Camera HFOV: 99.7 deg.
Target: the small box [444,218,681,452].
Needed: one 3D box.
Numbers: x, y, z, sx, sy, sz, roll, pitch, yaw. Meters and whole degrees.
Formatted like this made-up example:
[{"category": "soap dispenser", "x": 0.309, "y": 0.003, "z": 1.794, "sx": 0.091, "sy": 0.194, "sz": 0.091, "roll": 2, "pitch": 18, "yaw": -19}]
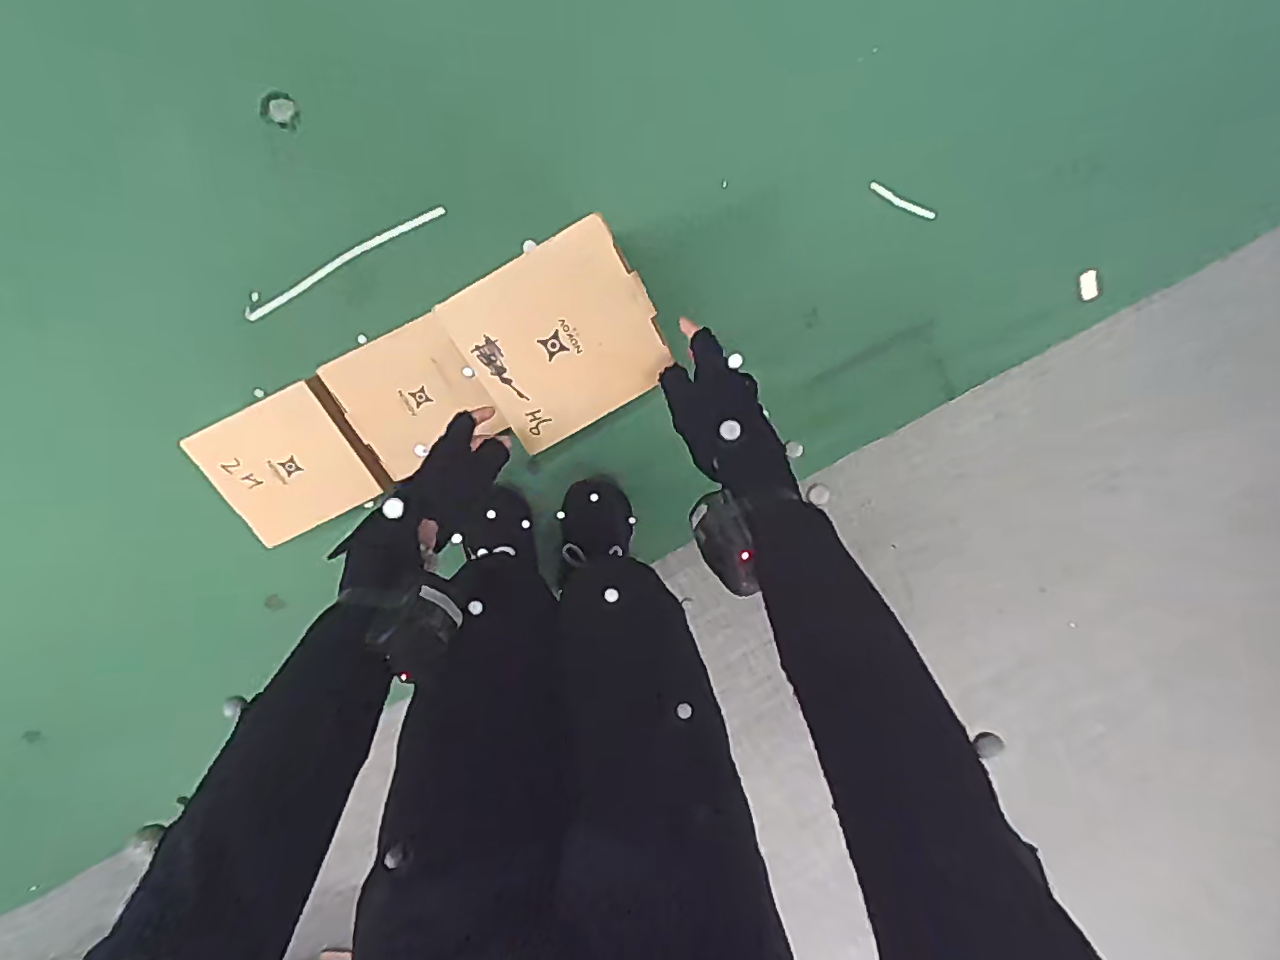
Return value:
[{"category": "small box", "x": -0.081, "y": -0.161, "z": 0.590, "sx": 0.179, "sy": 0.176, "sz": 0.168, "roll": -28, "pitch": 112, "yaw": 3}]
